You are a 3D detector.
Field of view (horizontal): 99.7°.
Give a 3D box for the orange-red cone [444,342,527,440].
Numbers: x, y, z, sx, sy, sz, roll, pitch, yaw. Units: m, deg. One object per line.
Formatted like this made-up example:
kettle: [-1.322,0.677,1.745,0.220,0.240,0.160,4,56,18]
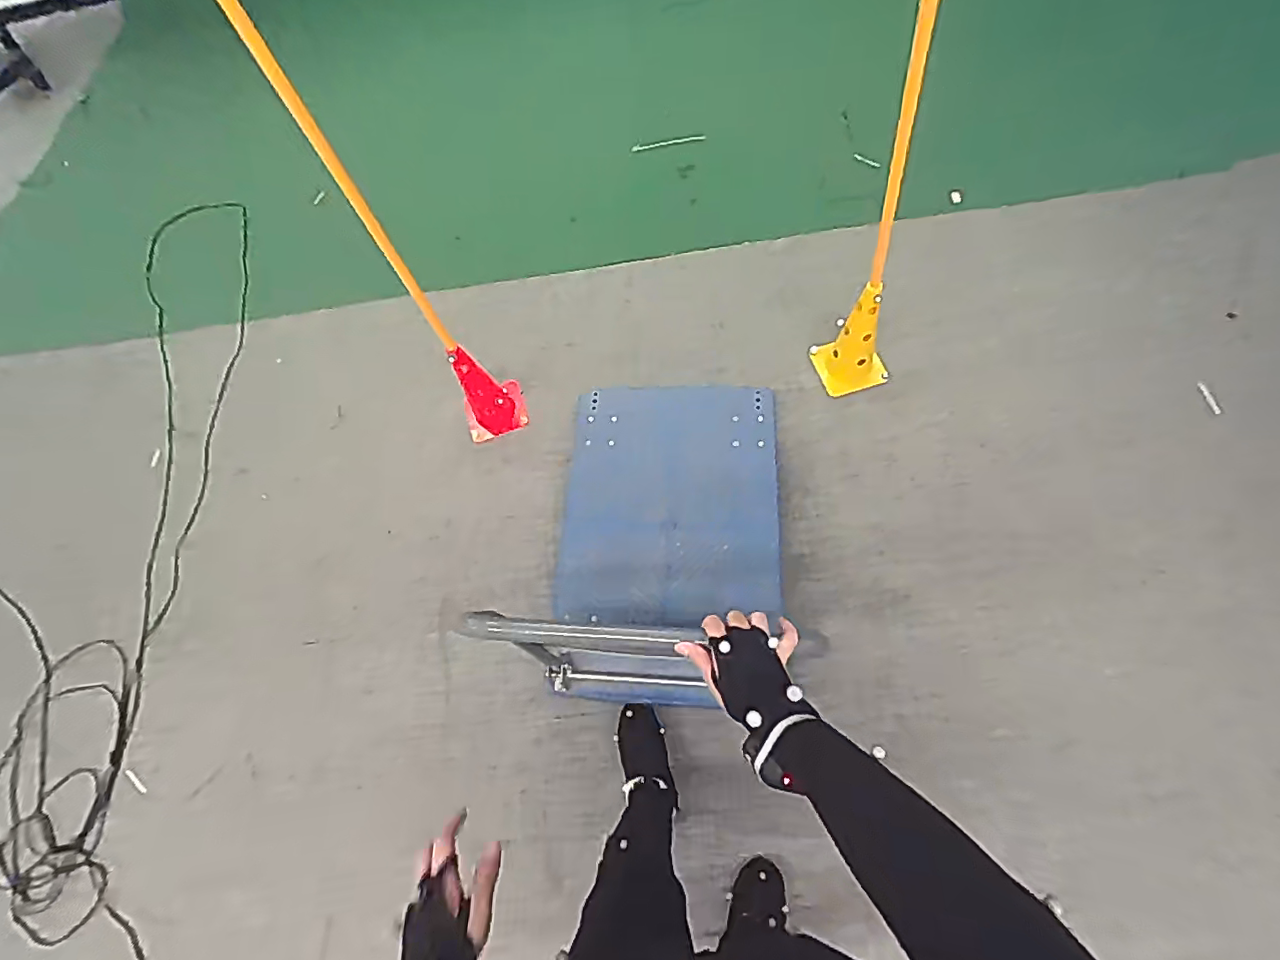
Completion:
orange-red cone: [-0.520,-0.309,1.706,0.199,0.360,0.198,-20,64,0]
